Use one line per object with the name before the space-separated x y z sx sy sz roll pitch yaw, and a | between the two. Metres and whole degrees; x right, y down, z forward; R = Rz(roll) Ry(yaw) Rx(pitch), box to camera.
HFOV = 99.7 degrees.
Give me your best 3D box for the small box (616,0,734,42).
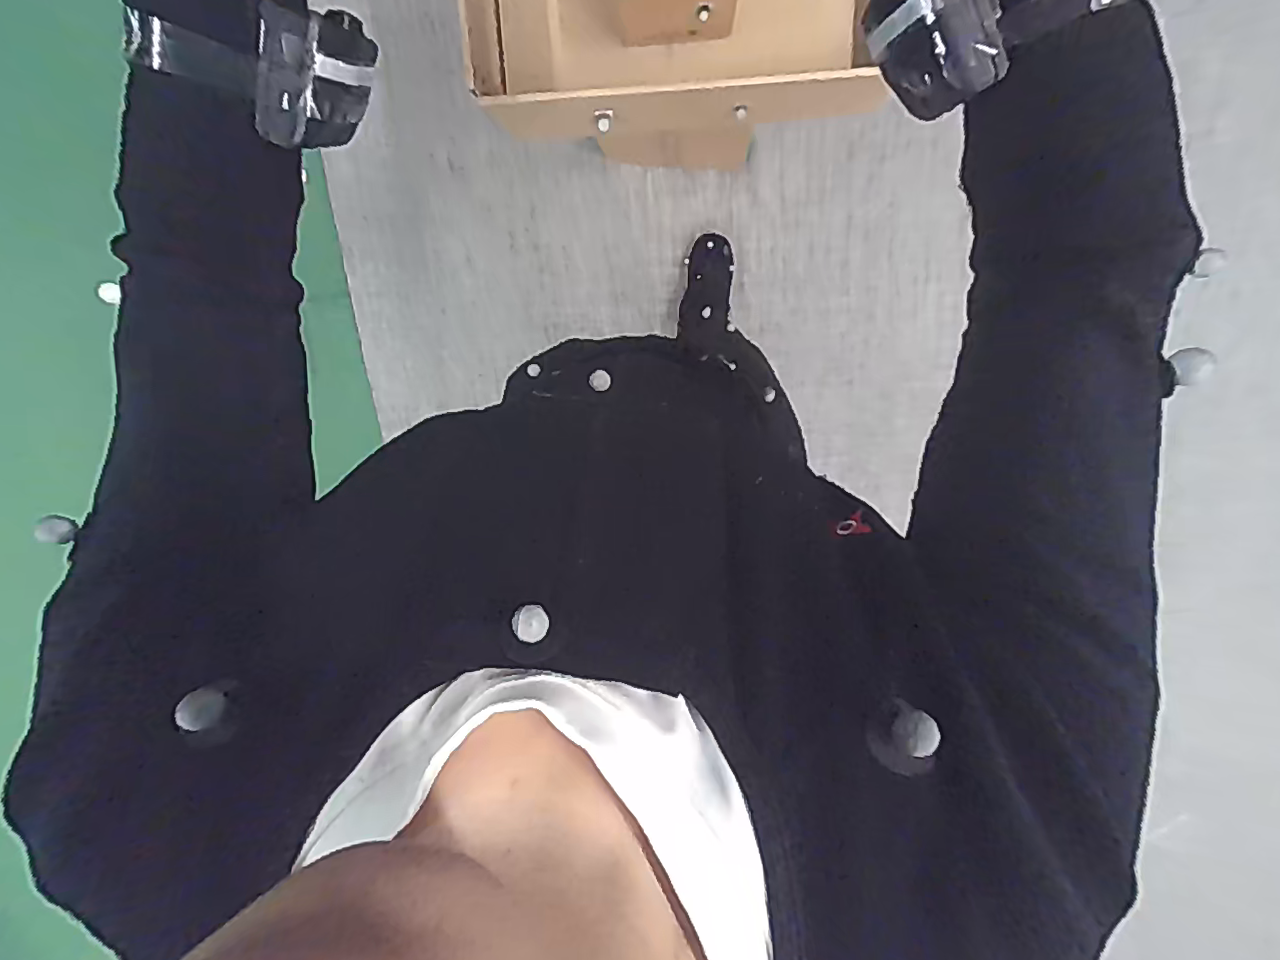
small box | 0.047 -0.734 0.734 0.168 0.176 0.179 -2 105 3
